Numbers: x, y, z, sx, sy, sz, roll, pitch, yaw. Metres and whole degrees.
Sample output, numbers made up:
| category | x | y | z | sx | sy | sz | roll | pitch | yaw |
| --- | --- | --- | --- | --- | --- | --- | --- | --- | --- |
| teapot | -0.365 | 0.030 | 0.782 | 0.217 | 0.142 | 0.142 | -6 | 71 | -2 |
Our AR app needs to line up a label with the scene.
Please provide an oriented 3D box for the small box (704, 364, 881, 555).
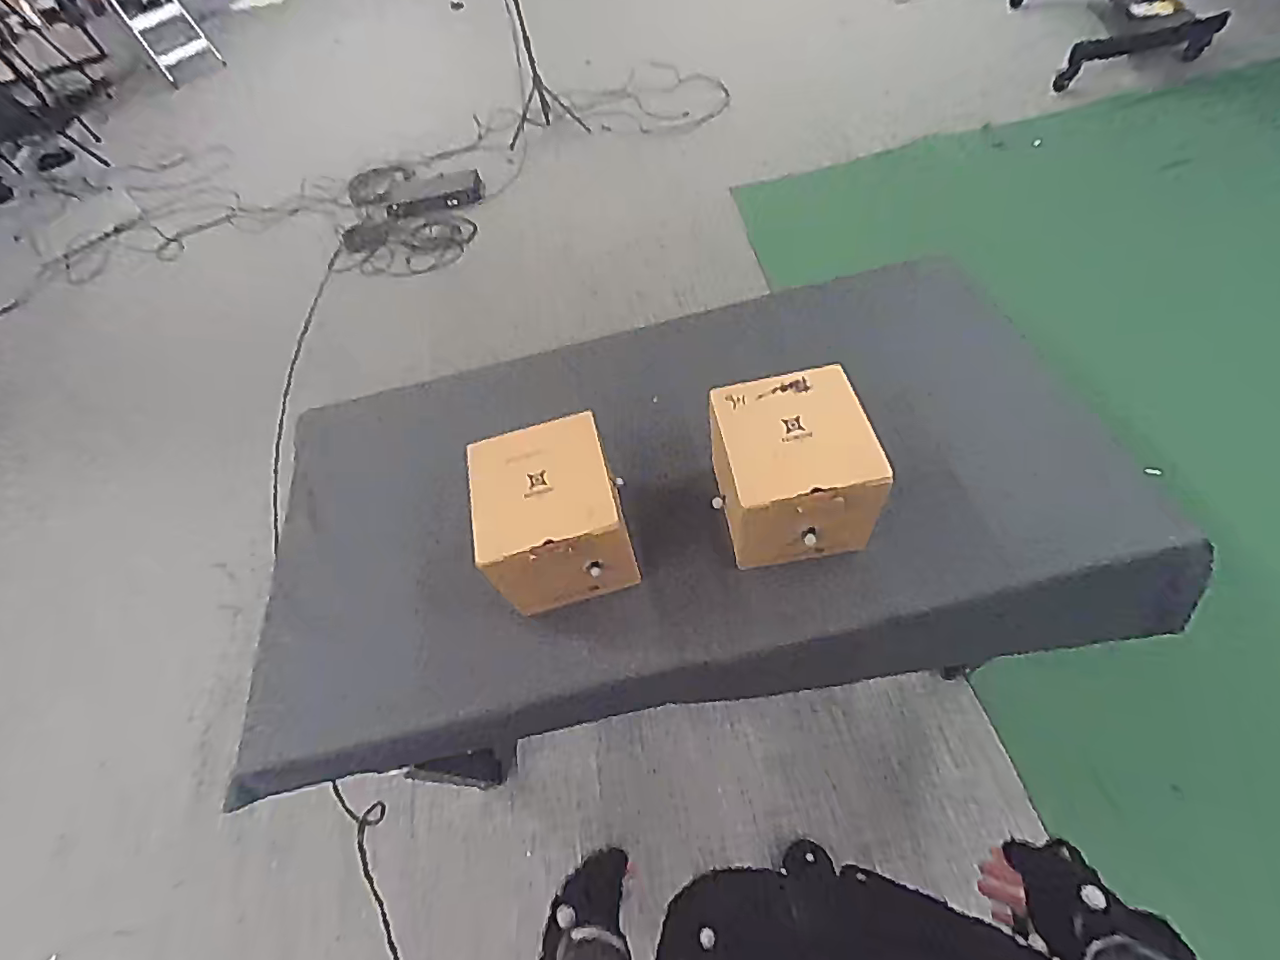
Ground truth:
| category | x | y | z | sx | sy | sz | roll | pitch | yaw |
| --- | --- | --- | --- | --- | --- | --- | --- | --- | --- |
| small box | 0.183 | -0.016 | 0.694 | 0.168 | 0.176 | 0.179 | -11 | 58 | 3 |

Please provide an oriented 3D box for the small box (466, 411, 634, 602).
| category | x | y | z | sx | sy | sz | roll | pitch | yaw |
| --- | --- | --- | --- | --- | --- | --- | --- | --- | --- |
| small box | -0.113 | 0.045 | 0.713 | 0.168 | 0.176 | 0.179 | -16 | 56 | -2 |
